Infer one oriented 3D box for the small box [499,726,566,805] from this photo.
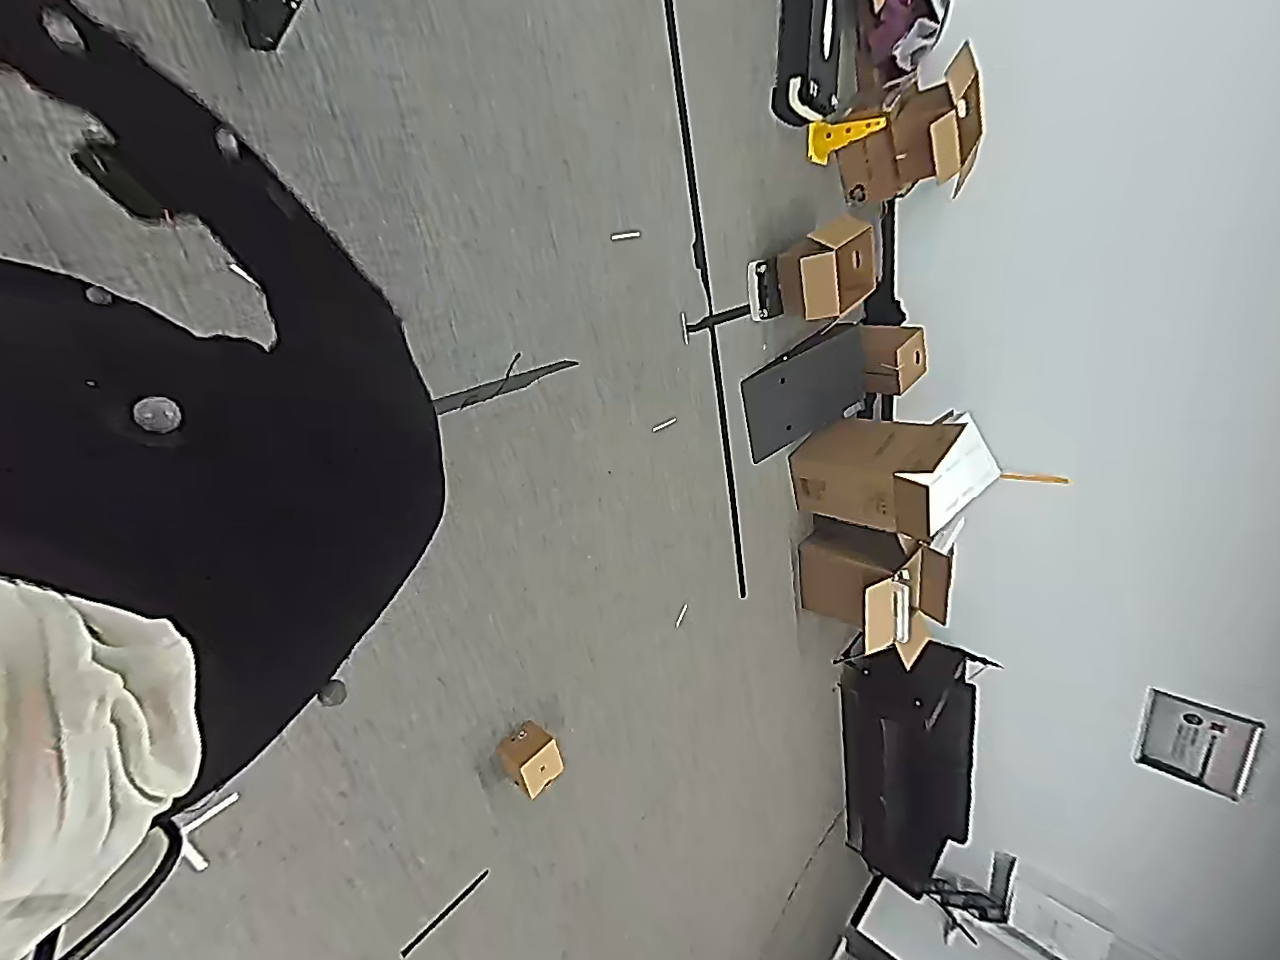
[{"bbox_3d":[-0.419,1.100,2.100,0.168,0.176,0.179,-31,120,-39],"label":"small box"}]
